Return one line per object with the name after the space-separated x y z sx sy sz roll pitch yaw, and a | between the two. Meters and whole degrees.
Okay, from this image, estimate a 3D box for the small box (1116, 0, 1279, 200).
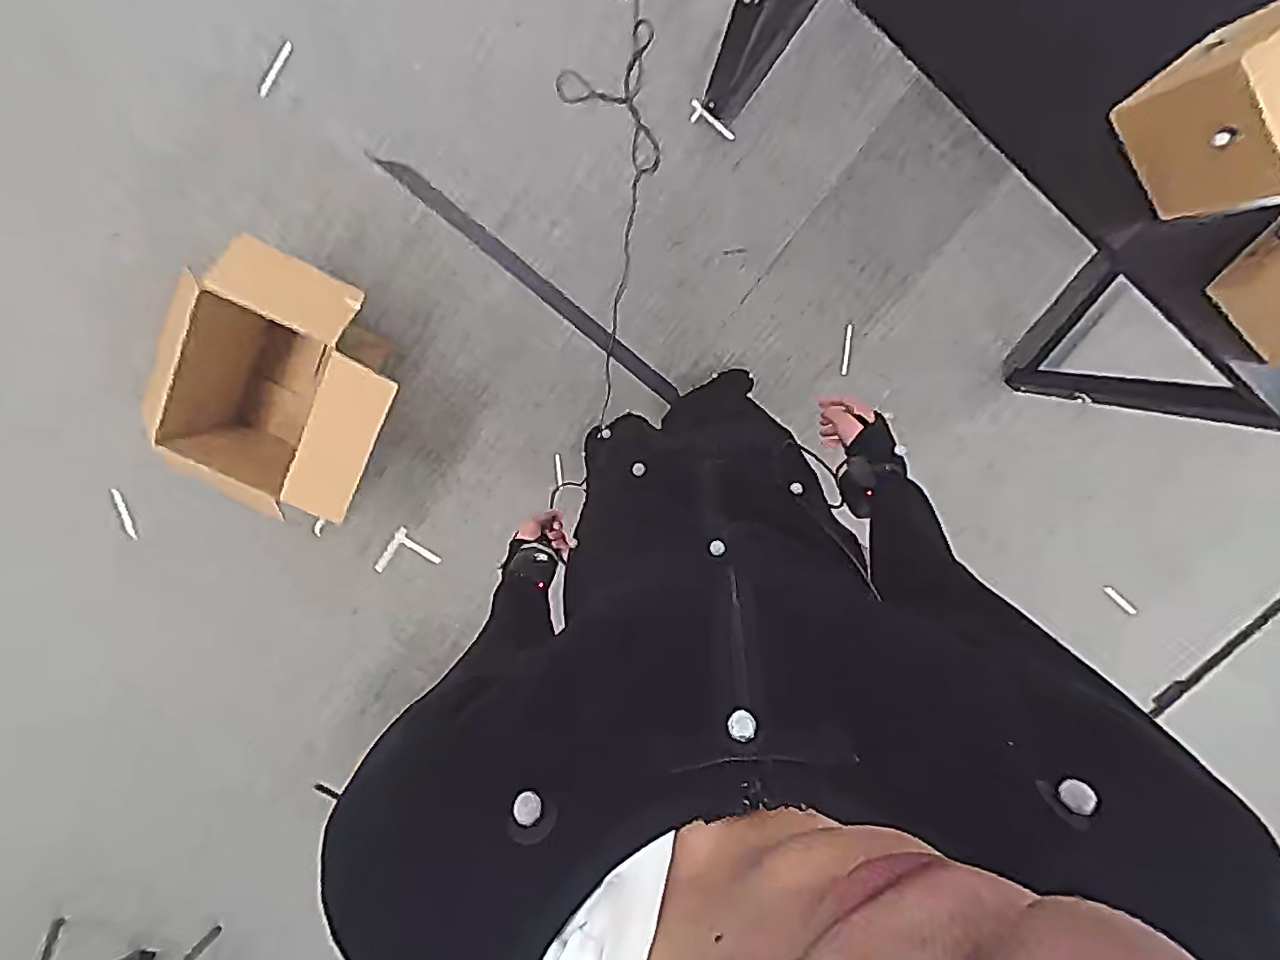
0.760 -0.476 0.665 0.168 0.176 0.179 -39 102 8 | small box

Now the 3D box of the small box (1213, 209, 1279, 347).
0.957 -0.284 0.721 0.179 0.176 0.168 38 101 -9 | small box
